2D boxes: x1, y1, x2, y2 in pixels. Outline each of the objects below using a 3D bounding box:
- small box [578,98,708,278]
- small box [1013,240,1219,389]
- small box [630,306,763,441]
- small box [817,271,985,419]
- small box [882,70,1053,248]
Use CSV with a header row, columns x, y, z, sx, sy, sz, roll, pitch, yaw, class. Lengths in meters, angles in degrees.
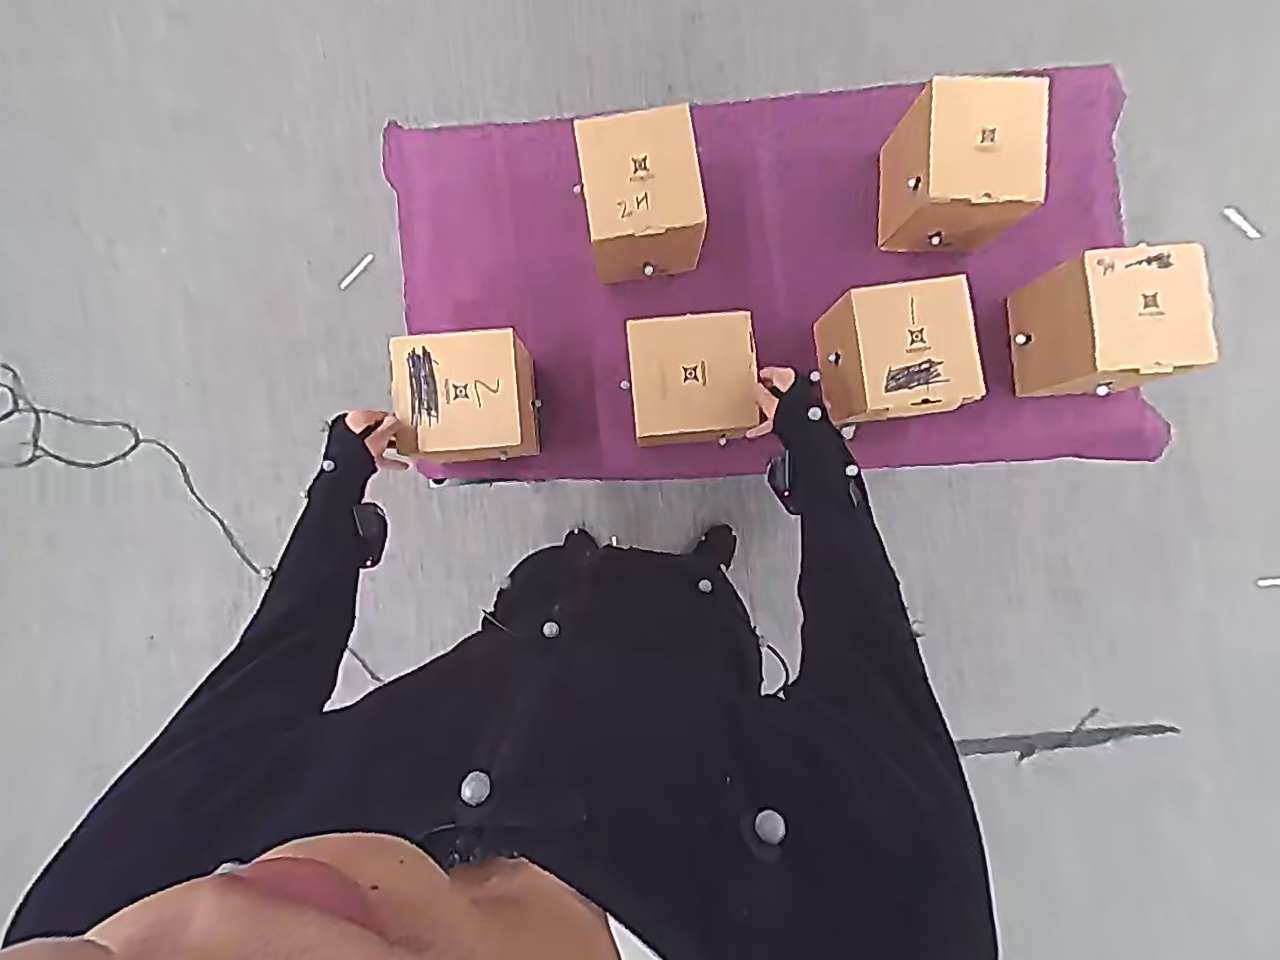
x,y,z,sx,sy,sz,roll,pitch,yaw,class
0.003,-0.436,0.831,0.168,0.176,0.179,-8,89,0,small box
0.703,-0.237,0.819,0.168,0.176,0.179,-3,87,1,small box
0.077,-0.153,0.823,0.179,0.176,0.168,-5,88,0,small box
0.383,-0.192,0.822,0.168,0.176,0.179,-7,88,0,small box
0.489,-0.480,0.830,0.168,0.176,0.179,1,90,1,small box
